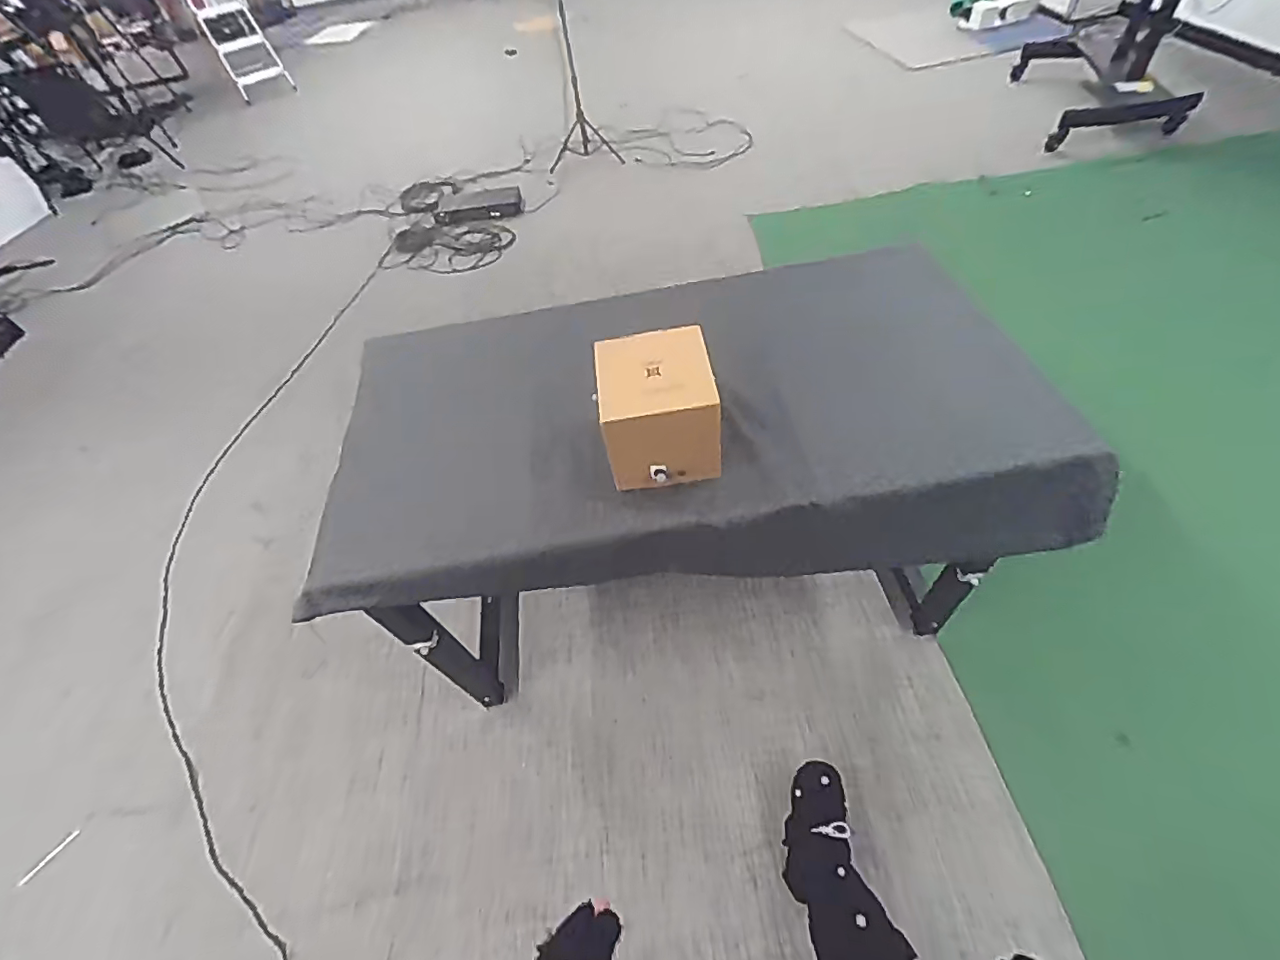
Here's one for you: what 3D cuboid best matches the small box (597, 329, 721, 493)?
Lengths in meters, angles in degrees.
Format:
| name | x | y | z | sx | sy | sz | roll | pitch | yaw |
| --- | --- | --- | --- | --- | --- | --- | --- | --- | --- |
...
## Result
| name | x | y | z | sx | sy | sz | roll | pitch | yaw |
| --- | --- | --- | --- | --- | --- | --- | --- | --- | --- |
| small box | 0.030 | -0.105 | 0.845 | 0.168 | 0.176 | 0.179 | -10 | 53 | 3 |
